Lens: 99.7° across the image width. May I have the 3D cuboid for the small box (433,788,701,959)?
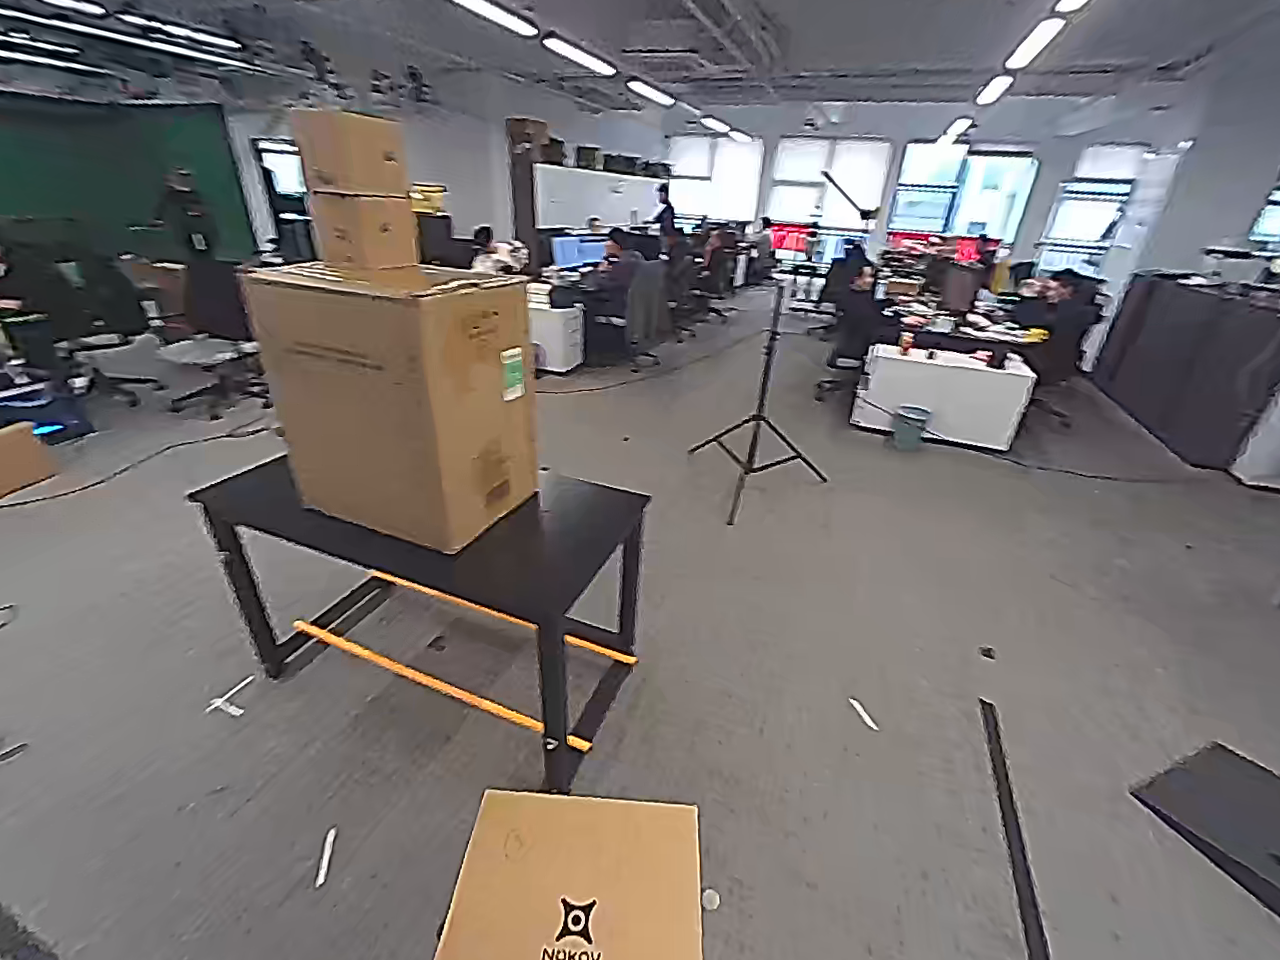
[{"bbox_3d":[-0.047,0.356,0.381,0.168,0.176,0.179,3,31,1],"label":"small box"}]

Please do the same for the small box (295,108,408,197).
[{"bbox_3d":[-0.684,-0.781,1.304,0.168,0.176,0.179,14,30,20],"label":"small box"}]

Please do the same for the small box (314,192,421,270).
[{"bbox_3d":[-0.691,-0.644,1.394,0.168,0.176,0.179,15,30,18],"label":"small box"}]
